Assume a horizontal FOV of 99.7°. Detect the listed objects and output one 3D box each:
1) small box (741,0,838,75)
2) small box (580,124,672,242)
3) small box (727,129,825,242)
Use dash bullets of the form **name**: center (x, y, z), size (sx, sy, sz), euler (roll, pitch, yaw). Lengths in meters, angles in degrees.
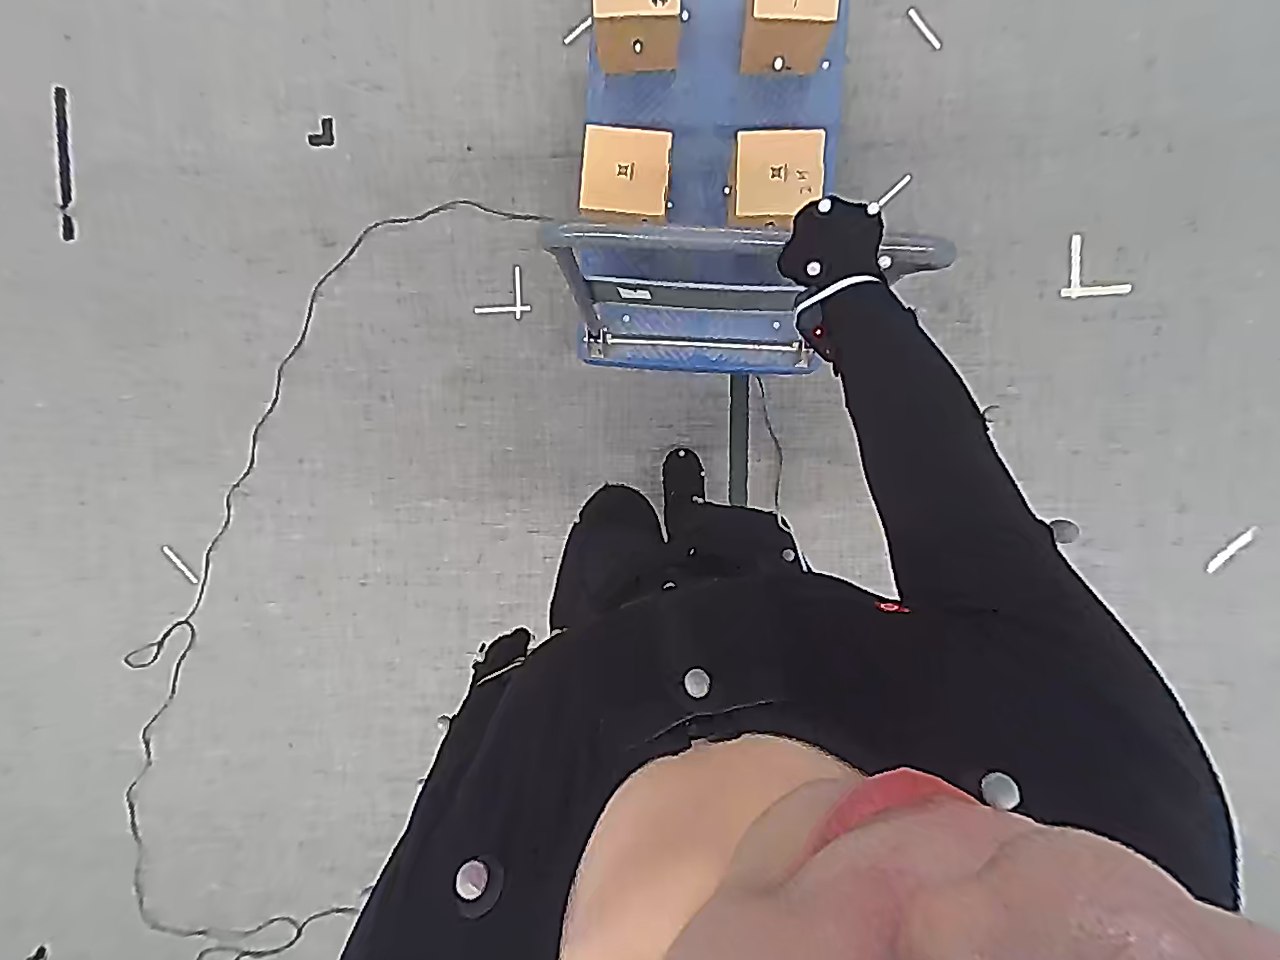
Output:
- **small box**: center (0.309, -0.995, 1.126), size (0.168, 0.176, 0.179), euler (4, 96, 2)
- **small box**: center (-0.027, -0.632, 1.168), size (0.179, 0.176, 0.168), euler (5, 95, 0)
- **small box**: center (0.282, -0.621, 1.158), size (0.179, 0.176, 0.168), euler (1, 95, 2)
